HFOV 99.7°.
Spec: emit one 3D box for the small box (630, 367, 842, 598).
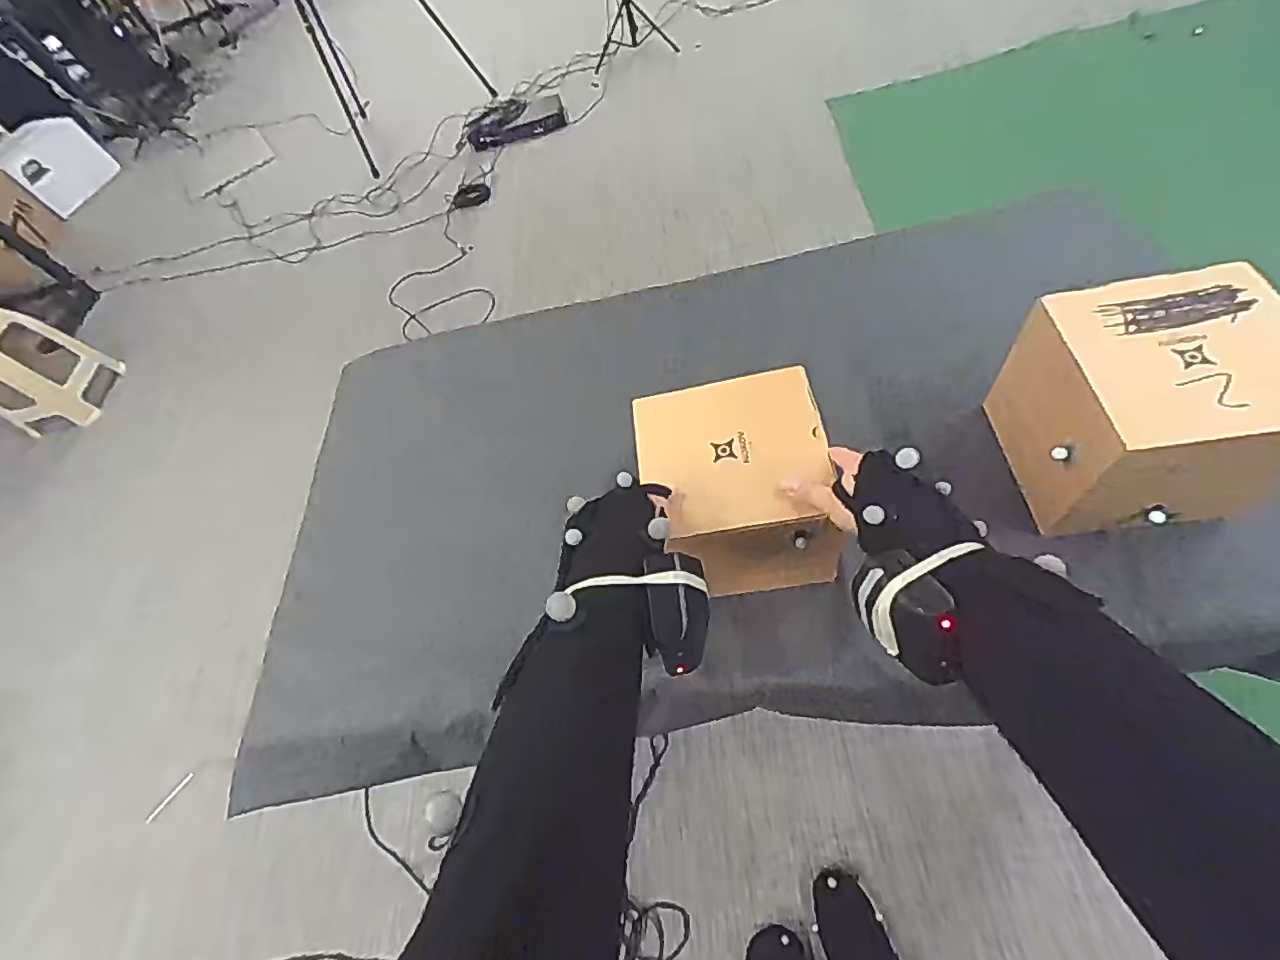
[{"bbox_3d":[0.096,0.013,0.564,0.179,0.176,0.168,-10,57,8],"label":"small box"}]
